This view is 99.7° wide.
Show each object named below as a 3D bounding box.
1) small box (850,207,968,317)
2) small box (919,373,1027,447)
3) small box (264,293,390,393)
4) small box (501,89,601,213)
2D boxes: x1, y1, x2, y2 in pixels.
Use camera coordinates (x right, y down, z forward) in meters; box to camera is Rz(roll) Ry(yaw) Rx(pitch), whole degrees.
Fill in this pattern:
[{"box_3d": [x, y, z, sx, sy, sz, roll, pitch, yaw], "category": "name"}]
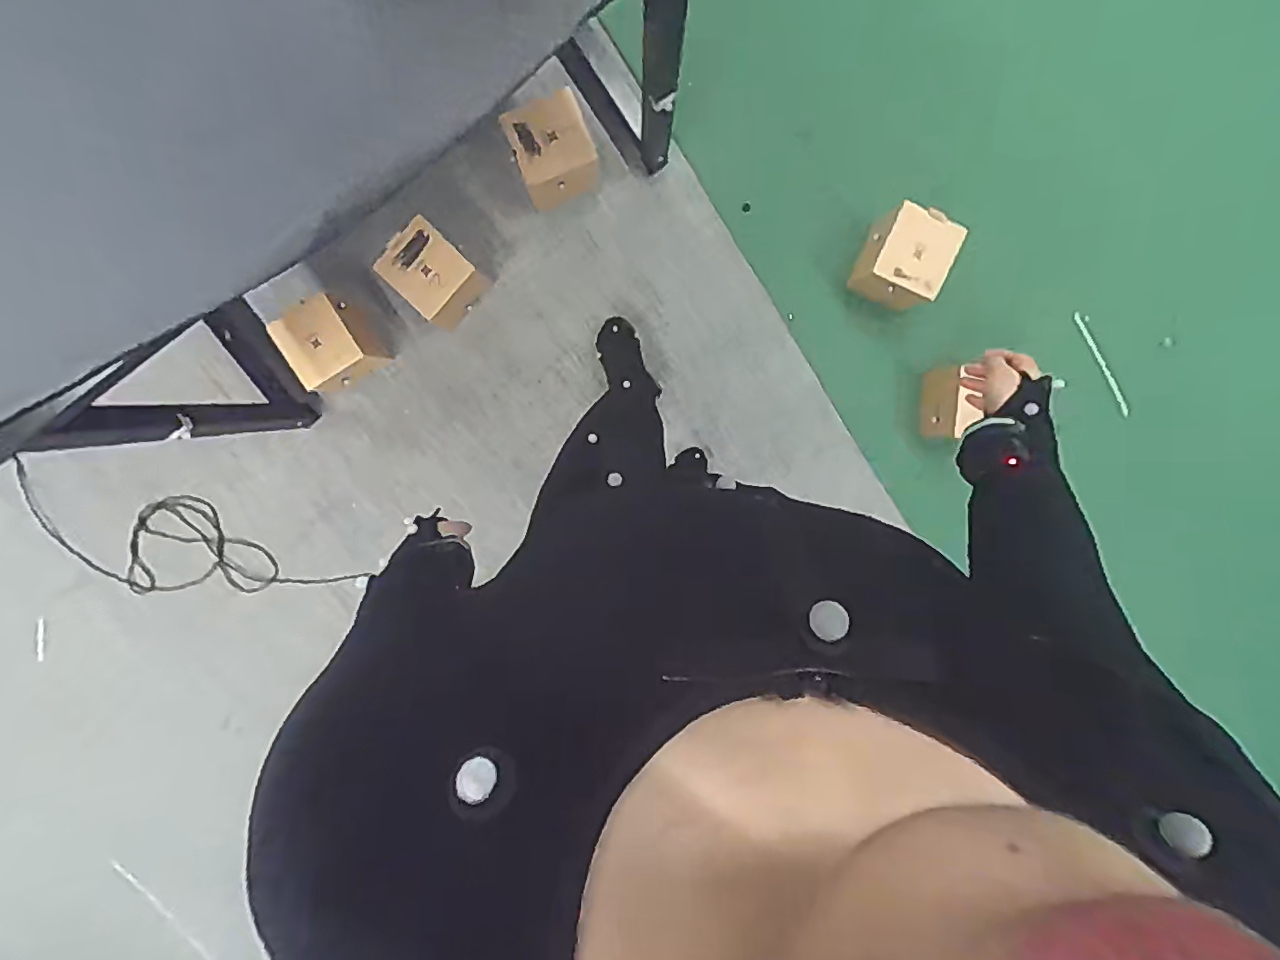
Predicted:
[{"box_3d": [0.643, -0.521, 1.320, 0.168, 0.176, 0.179, 24, 96, -4], "category": "small box"}, {"box_3d": [0.834, -0.178, 1.371, 0.168, 0.176, 0.179, 0, 97, -2], "category": "small box"}, {"box_3d": [-0.757, -0.330, 1.332, 0.168, 0.176, 0.179, -30, 97, 4], "category": "small box"}, {"box_3d": [-0.201, -0.761, 1.274, 0.179, 0.176, 0.168, -21, 98, 1], "category": "small box"}]
